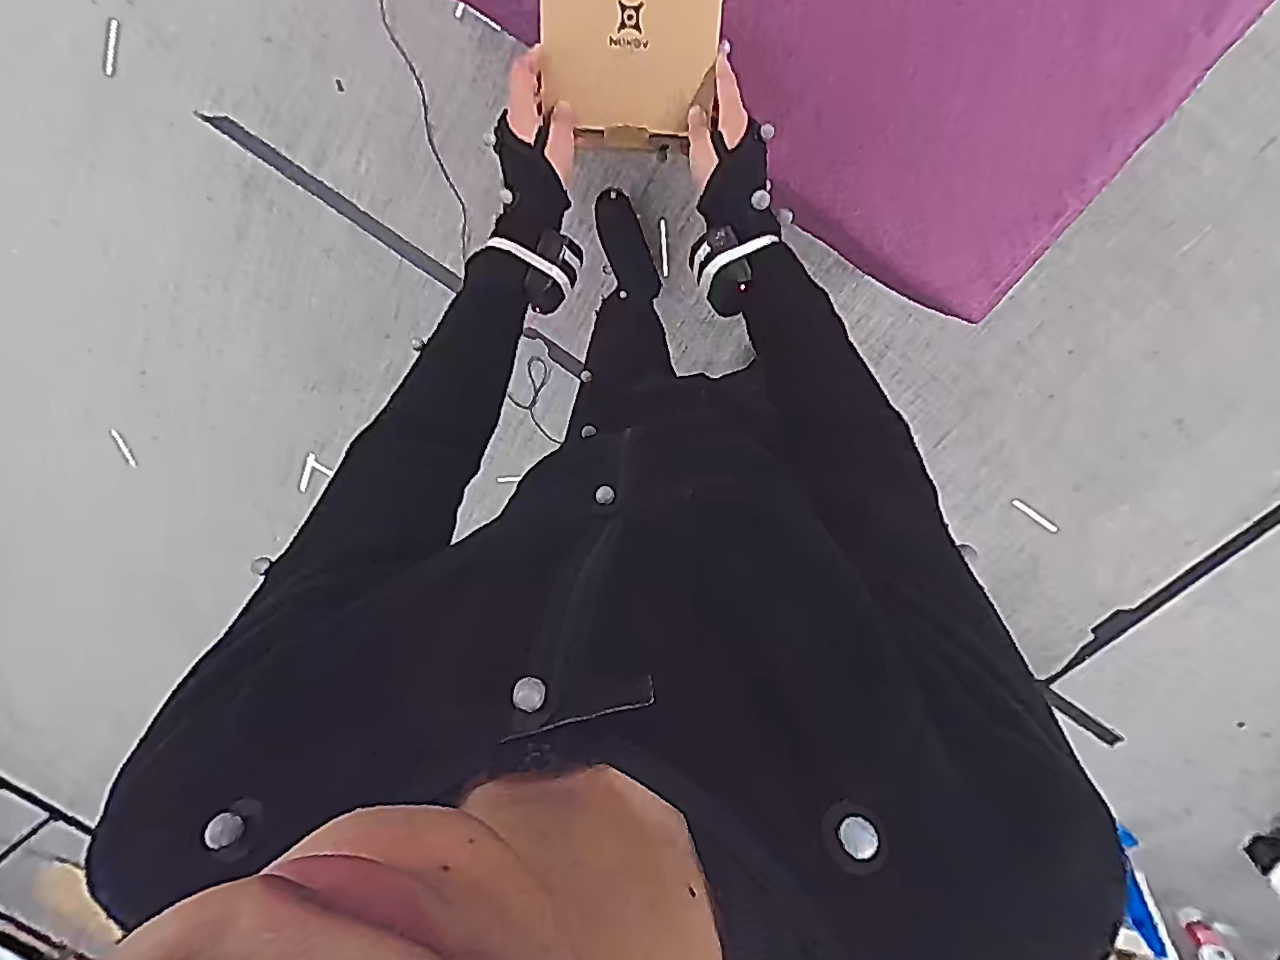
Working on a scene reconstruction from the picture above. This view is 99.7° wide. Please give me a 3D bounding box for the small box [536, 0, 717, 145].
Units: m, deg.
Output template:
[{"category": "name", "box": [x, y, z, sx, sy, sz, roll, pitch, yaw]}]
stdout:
[{"category": "small box", "box": [-0.009, -0.459, 0.558, 0.168, 0.176, 0.179, 4, 116, 0]}]
